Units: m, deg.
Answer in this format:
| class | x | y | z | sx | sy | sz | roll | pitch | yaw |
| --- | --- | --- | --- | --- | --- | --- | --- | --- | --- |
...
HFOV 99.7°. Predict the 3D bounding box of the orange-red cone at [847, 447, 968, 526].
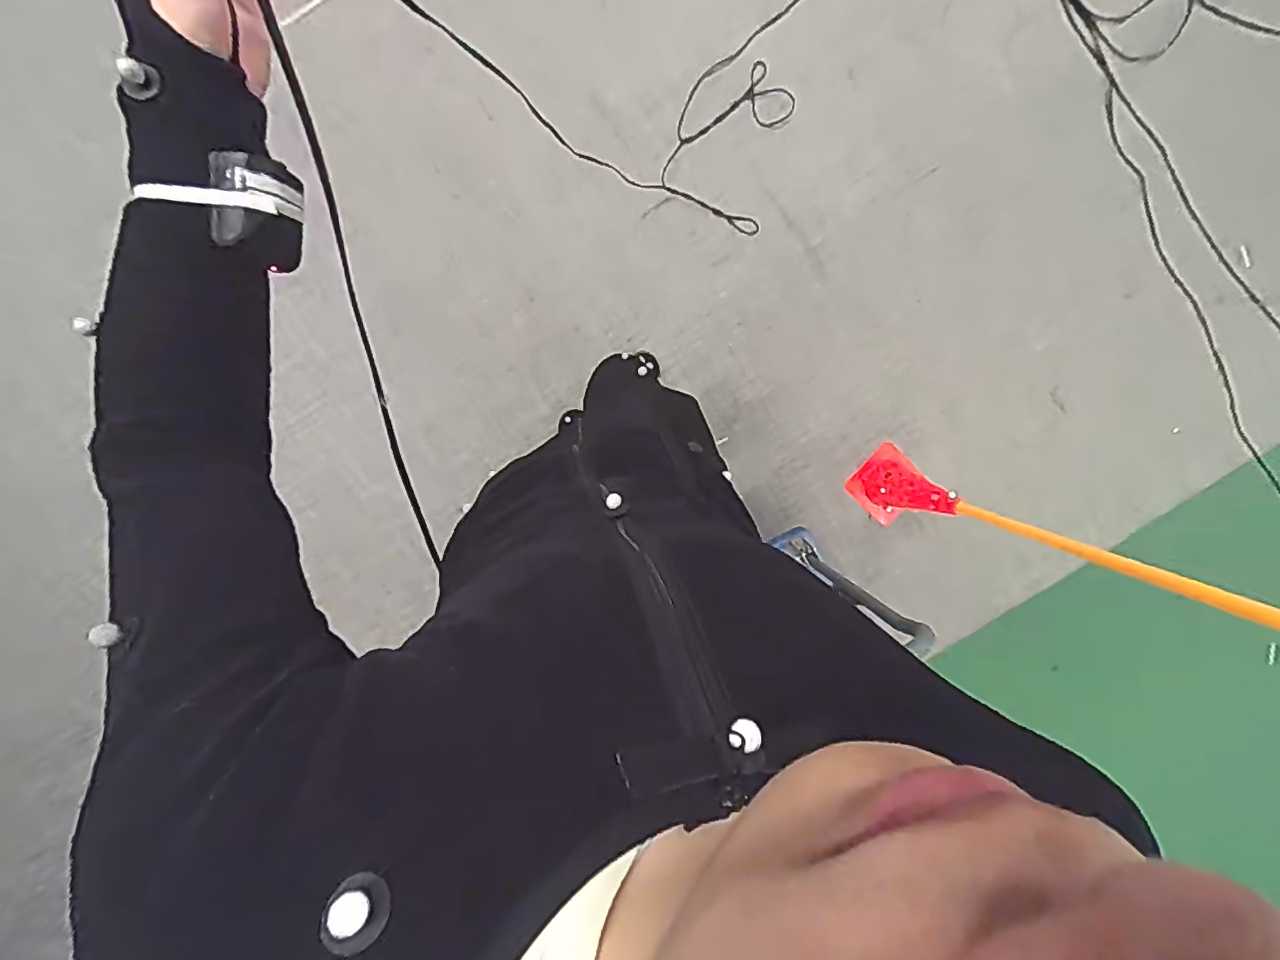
| class | x | y | z | sx | sy | sz | roll | pitch | yaw |
| --- | --- | --- | --- | --- | --- | --- | --- | --- | --- |
| orange-red cone | 0.772 | 0.046 | 1.495 | 0.198 | 0.360 | 0.199 | 43 | 92 | -10 |
